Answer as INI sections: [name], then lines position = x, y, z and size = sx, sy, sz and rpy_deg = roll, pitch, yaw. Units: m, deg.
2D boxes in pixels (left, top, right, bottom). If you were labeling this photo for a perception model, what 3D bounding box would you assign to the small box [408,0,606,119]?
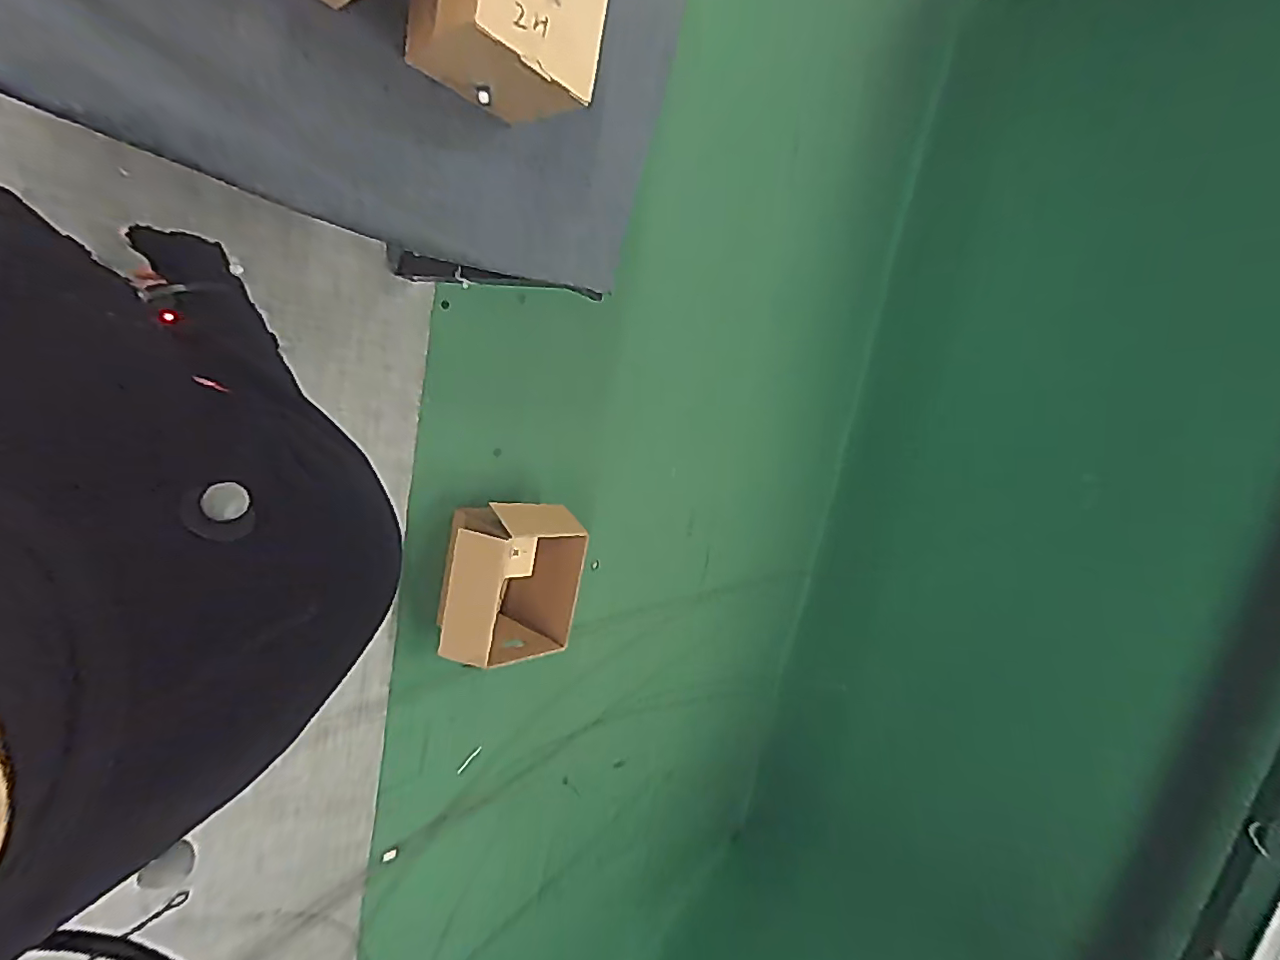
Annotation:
[small box]
position = -0.162, -0.582, 0.658
size = 0.168, 0.176, 0.179
rpy_deg = 1, 104, -48
